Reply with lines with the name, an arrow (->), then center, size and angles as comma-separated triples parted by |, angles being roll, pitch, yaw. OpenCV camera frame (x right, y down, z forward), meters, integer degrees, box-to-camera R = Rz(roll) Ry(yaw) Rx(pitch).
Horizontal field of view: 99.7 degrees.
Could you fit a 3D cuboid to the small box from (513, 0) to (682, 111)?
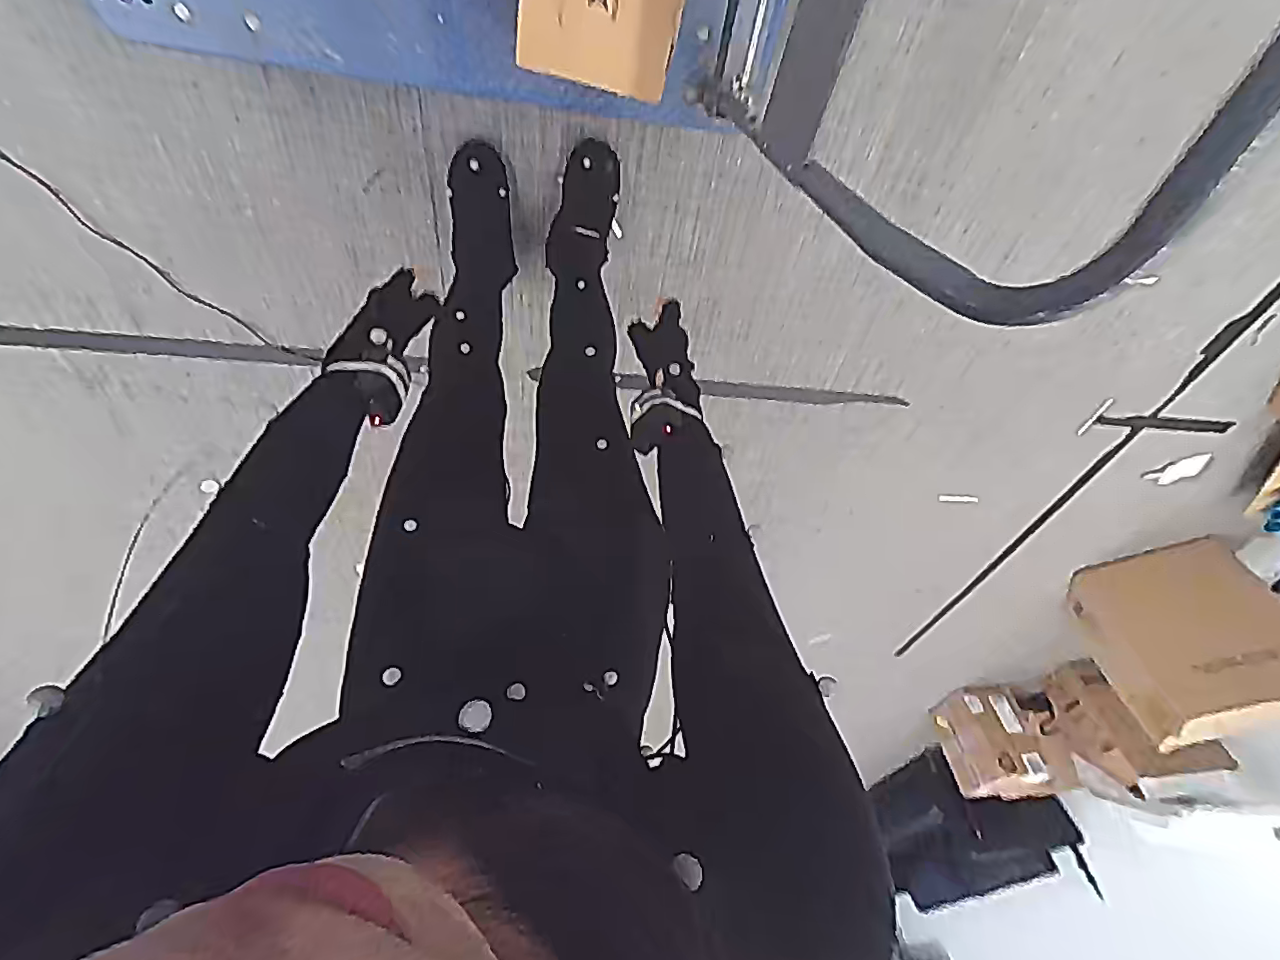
small box -> -0.052, -0.575, 0.649 | 0.179, 0.176, 0.168 | 7, 132, -13
